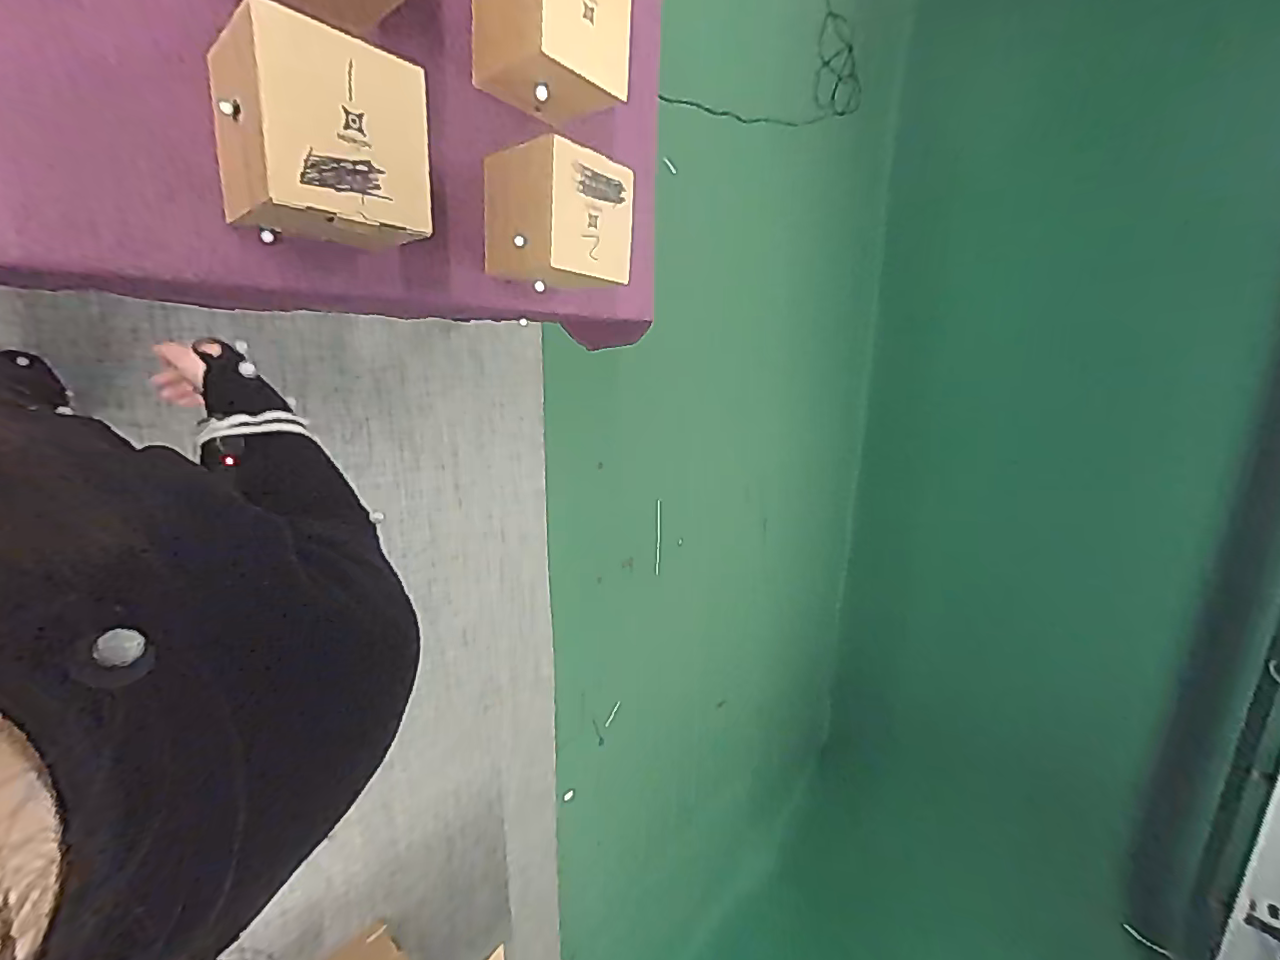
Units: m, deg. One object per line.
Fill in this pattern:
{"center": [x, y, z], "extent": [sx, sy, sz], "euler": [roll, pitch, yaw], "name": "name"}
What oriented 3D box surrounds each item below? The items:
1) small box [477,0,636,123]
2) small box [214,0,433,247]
{"center": [-0.125, -0.663, 0.794], "extent": [0.168, 0.176, 0.179], "euler": [-9, 105, -47], "name": "small box"}
{"center": [-0.352, -0.373, 0.607], "extent": [0.168, 0.176, 0.179], "euler": [-11, 107, -47], "name": "small box"}
